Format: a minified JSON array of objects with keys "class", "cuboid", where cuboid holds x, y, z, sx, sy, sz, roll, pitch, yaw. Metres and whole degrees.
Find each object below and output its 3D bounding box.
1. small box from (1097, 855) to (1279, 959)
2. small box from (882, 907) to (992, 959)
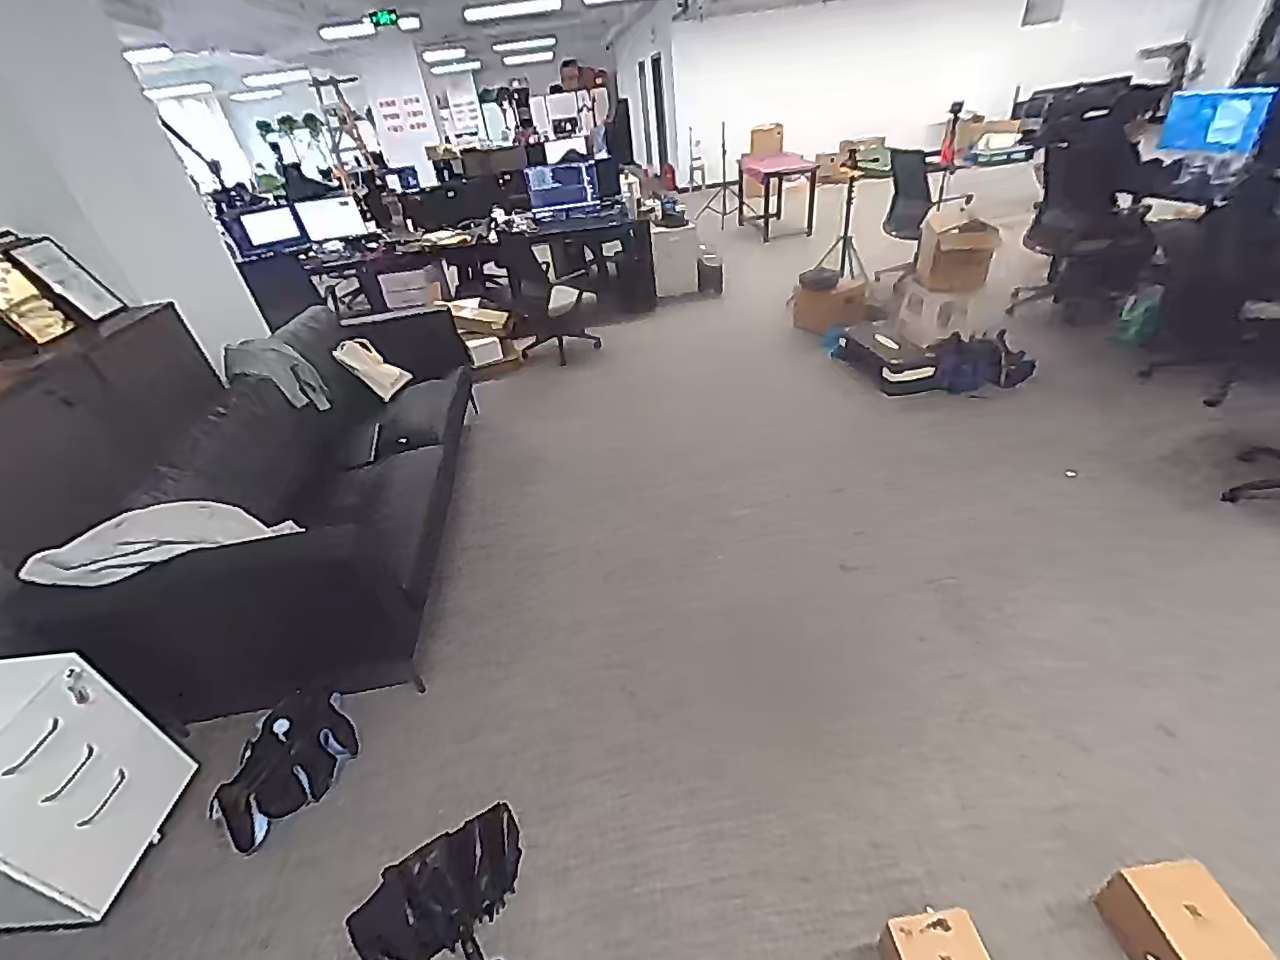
[{"class":"small box","cuboid":[1.102,0.911,1.106,0.168,0.176,0.179,-9,34,-1]},{"class":"small box","cuboid":[0.610,1.003,1.088,0.168,0.176,0.179,-9,35,0]}]
